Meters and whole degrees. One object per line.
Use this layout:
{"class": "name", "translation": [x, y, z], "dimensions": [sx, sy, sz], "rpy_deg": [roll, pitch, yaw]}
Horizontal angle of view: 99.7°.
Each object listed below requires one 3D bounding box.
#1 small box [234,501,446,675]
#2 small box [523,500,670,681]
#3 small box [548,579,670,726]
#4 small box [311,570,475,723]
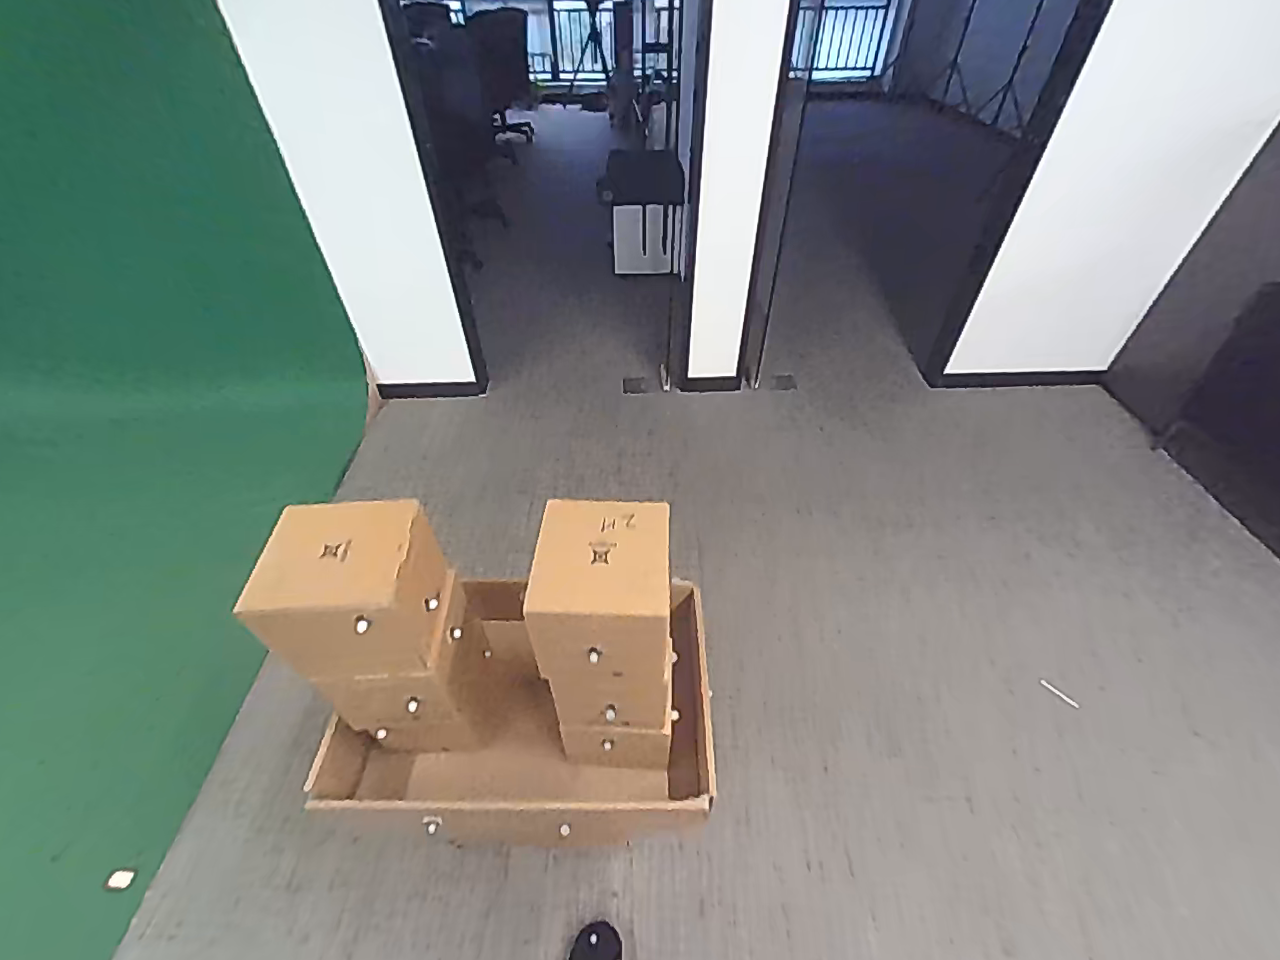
{"class": "small box", "translation": [-0.378, 0.146, 0.723], "dimensions": [0.179, 0.176, 0.168], "rpy_deg": [-2, 45, -5]}
{"class": "small box", "translation": [-0.046, 0.148, 0.715], "dimensions": [0.168, 0.176, 0.179], "rpy_deg": [2, 45, 2]}
{"class": "small box", "translation": [-0.038, 0.263, 0.834], "dimensions": [0.168, 0.176, 0.179], "rpy_deg": [2, 46, 2]}
{"class": "small box", "translation": [-0.363, 0.261, 0.837], "dimensions": [0.168, 0.176, 0.179], "rpy_deg": [-2, 44, -3]}
